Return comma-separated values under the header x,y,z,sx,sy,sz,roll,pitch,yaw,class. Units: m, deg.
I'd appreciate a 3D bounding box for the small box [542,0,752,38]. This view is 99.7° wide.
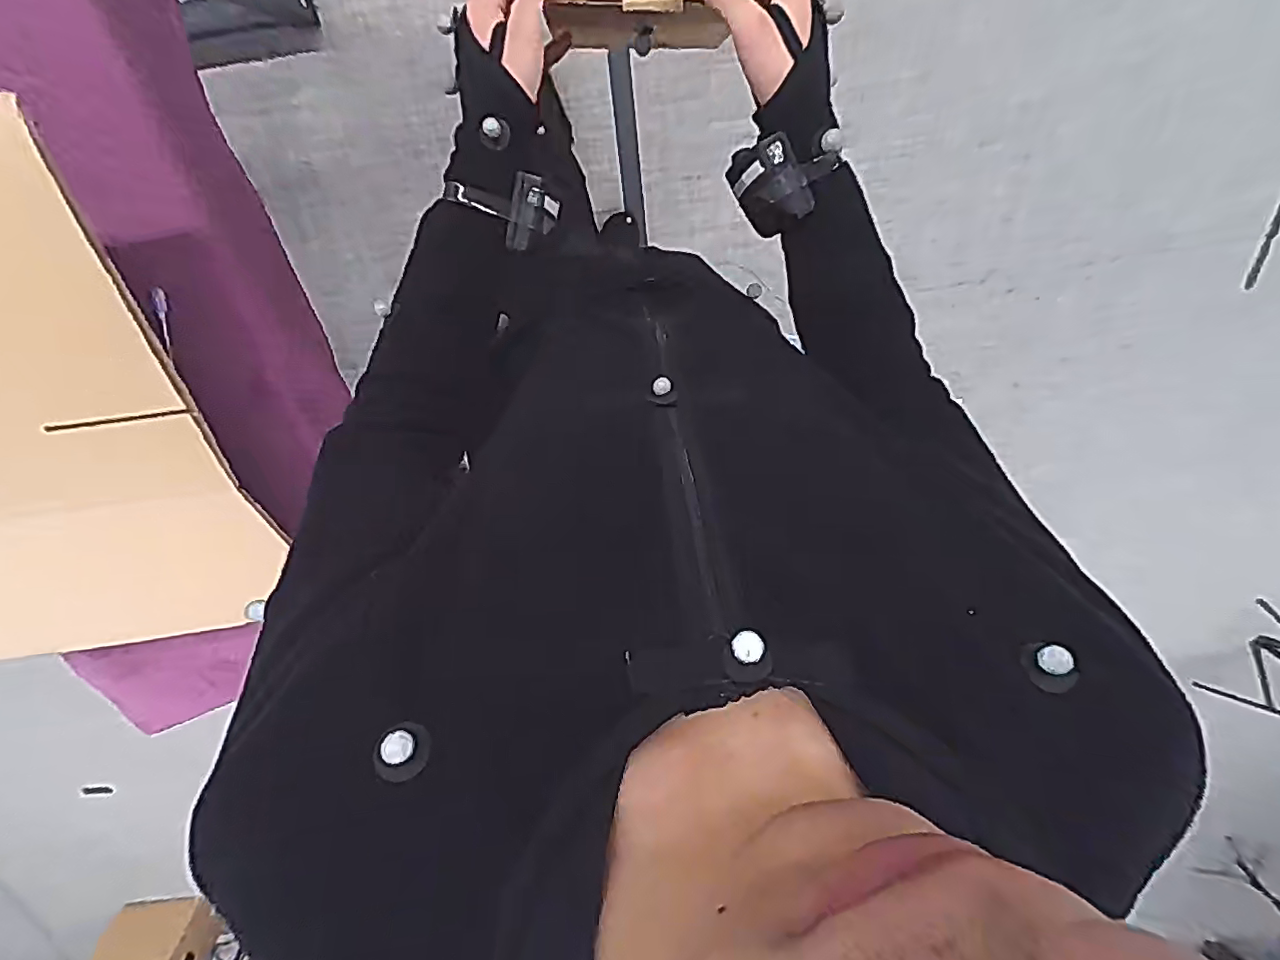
x,y,z,sx,sy,sz,roll,pitch,yaw,class
0.003,-0.470,0.423,0.168,0.176,0.179,-2,120,-3,small box
